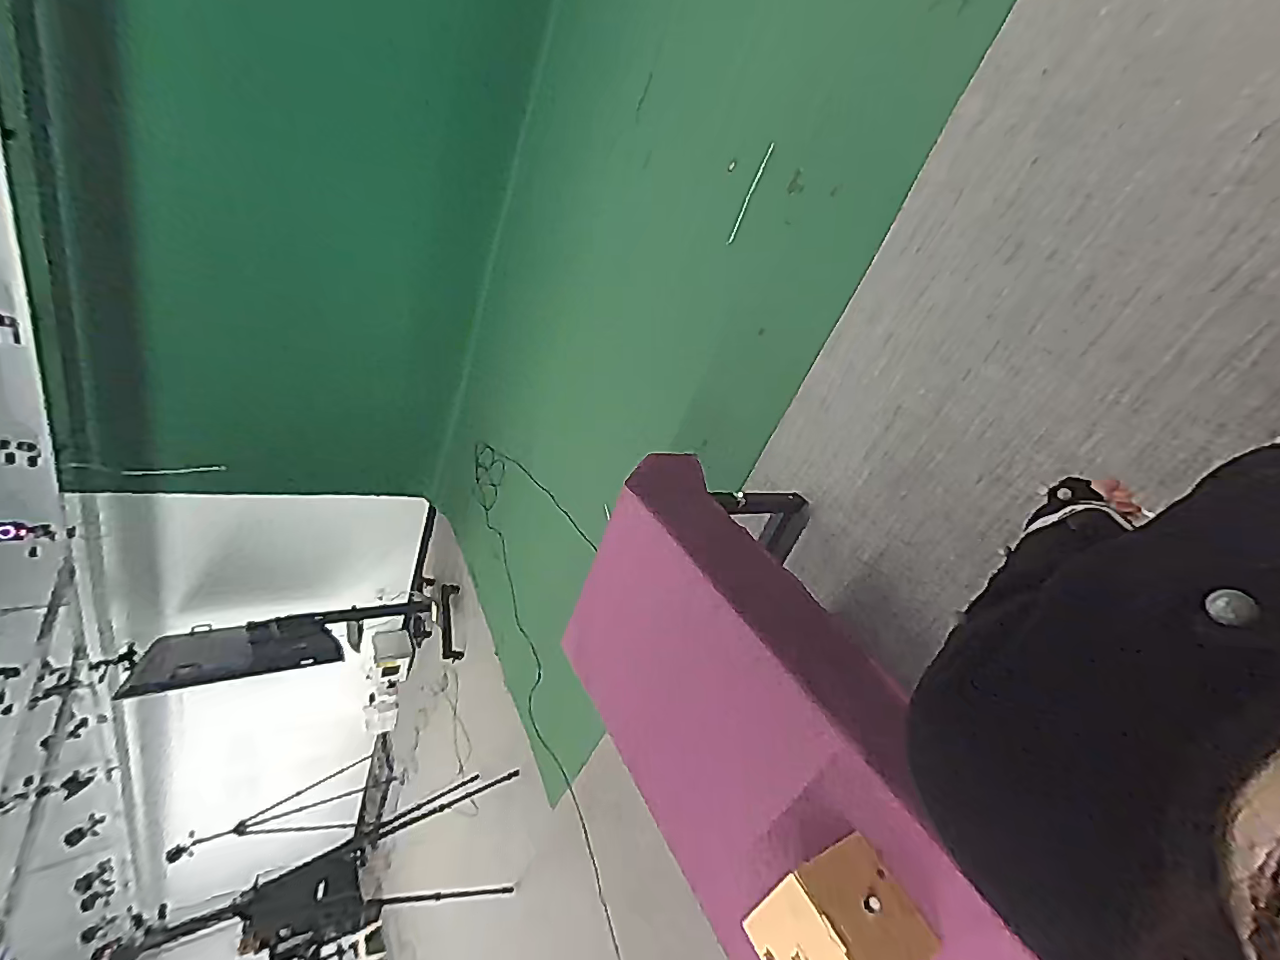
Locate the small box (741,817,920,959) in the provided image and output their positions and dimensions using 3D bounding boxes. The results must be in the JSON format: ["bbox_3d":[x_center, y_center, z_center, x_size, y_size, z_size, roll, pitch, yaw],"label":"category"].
[{"bbox_3d":[0.297,0.665,0.837,0.168,0.176,0.179,51,127,41],"label":"small box"}]
